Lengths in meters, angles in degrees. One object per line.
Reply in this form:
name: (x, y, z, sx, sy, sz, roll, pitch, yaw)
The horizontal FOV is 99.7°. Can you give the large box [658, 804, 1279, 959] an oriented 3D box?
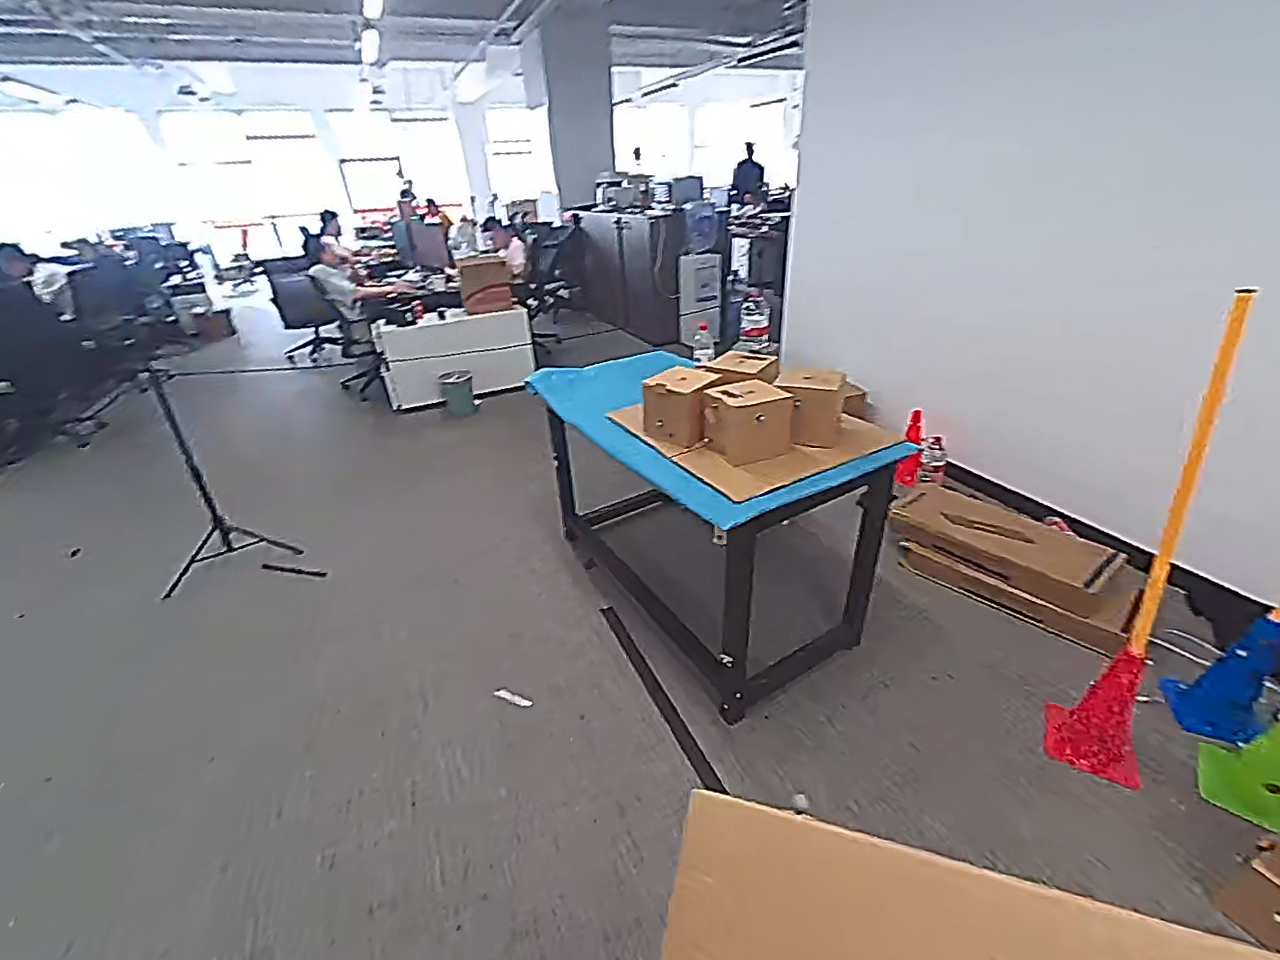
large box: (0.224, 0.452, 0.369, 0.408, 0.320, 0.320, 3, 59, 22)
